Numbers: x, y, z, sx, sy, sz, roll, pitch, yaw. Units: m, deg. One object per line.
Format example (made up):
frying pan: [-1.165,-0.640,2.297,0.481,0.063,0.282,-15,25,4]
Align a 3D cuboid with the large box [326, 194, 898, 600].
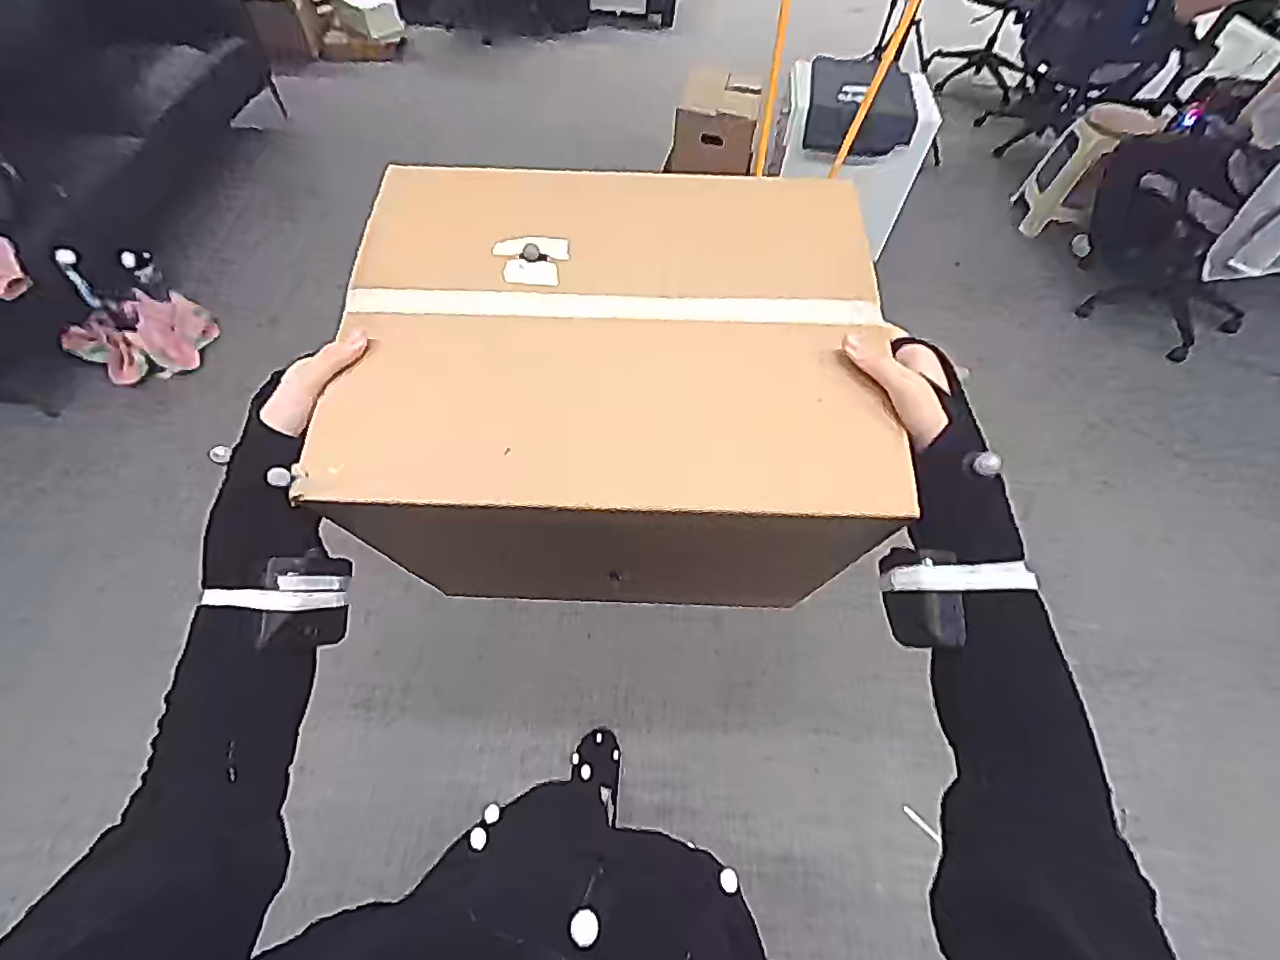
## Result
large box: [-0.014,-0.056,0.564,0.408,0.320,0.320,2,67,1]
